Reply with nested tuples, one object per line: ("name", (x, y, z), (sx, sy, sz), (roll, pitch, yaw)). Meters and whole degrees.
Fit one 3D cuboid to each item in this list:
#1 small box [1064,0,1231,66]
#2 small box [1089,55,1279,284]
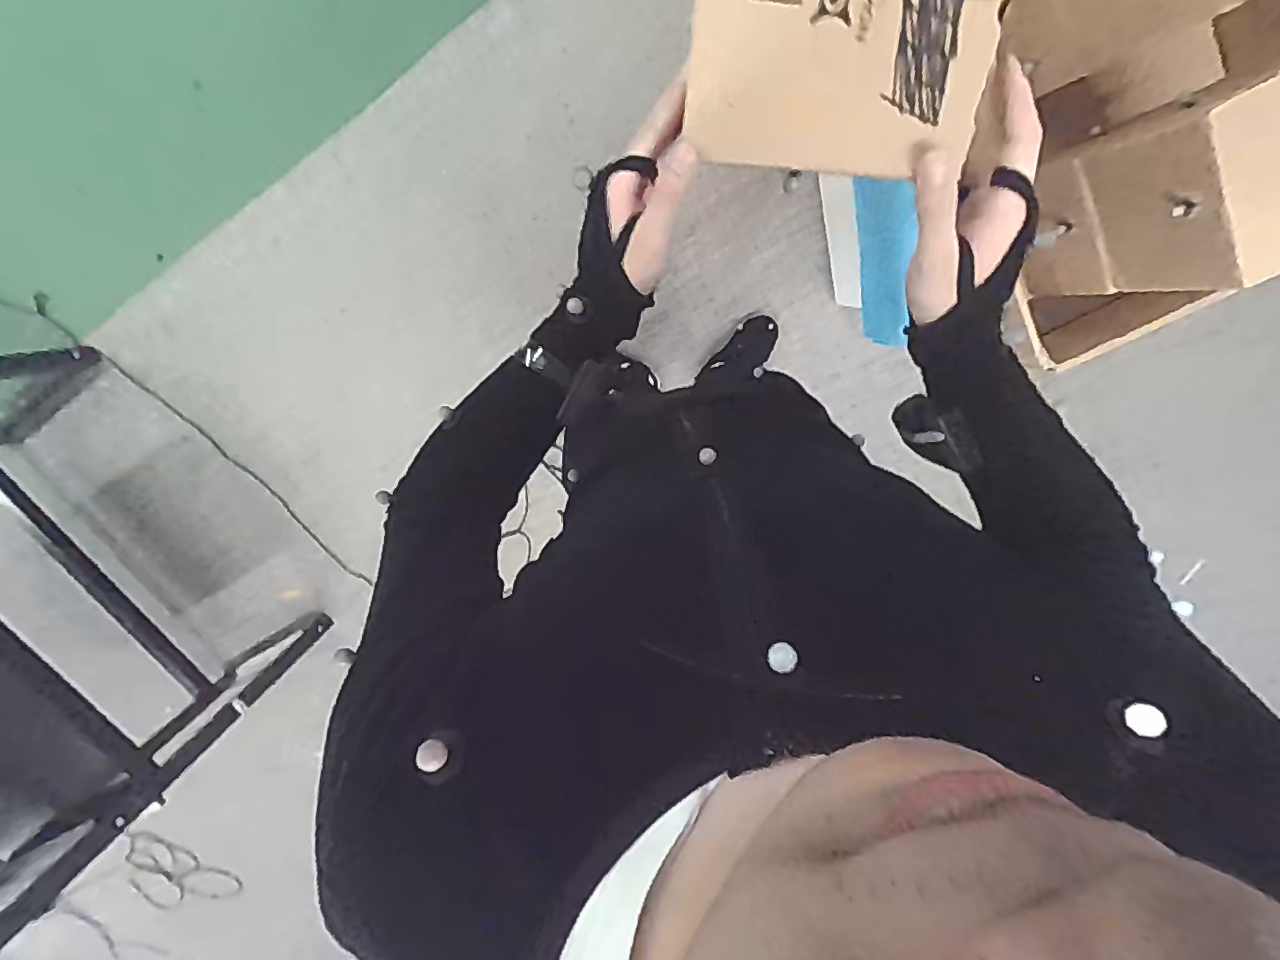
("small box", (0.517, -0.536, 0.490), (0.168, 0.176, 0.179), (-31, 106, 14))
("small box", (0.620, -0.320, 0.560), (0.168, 0.176, 0.179), (-25, 105, 12))
